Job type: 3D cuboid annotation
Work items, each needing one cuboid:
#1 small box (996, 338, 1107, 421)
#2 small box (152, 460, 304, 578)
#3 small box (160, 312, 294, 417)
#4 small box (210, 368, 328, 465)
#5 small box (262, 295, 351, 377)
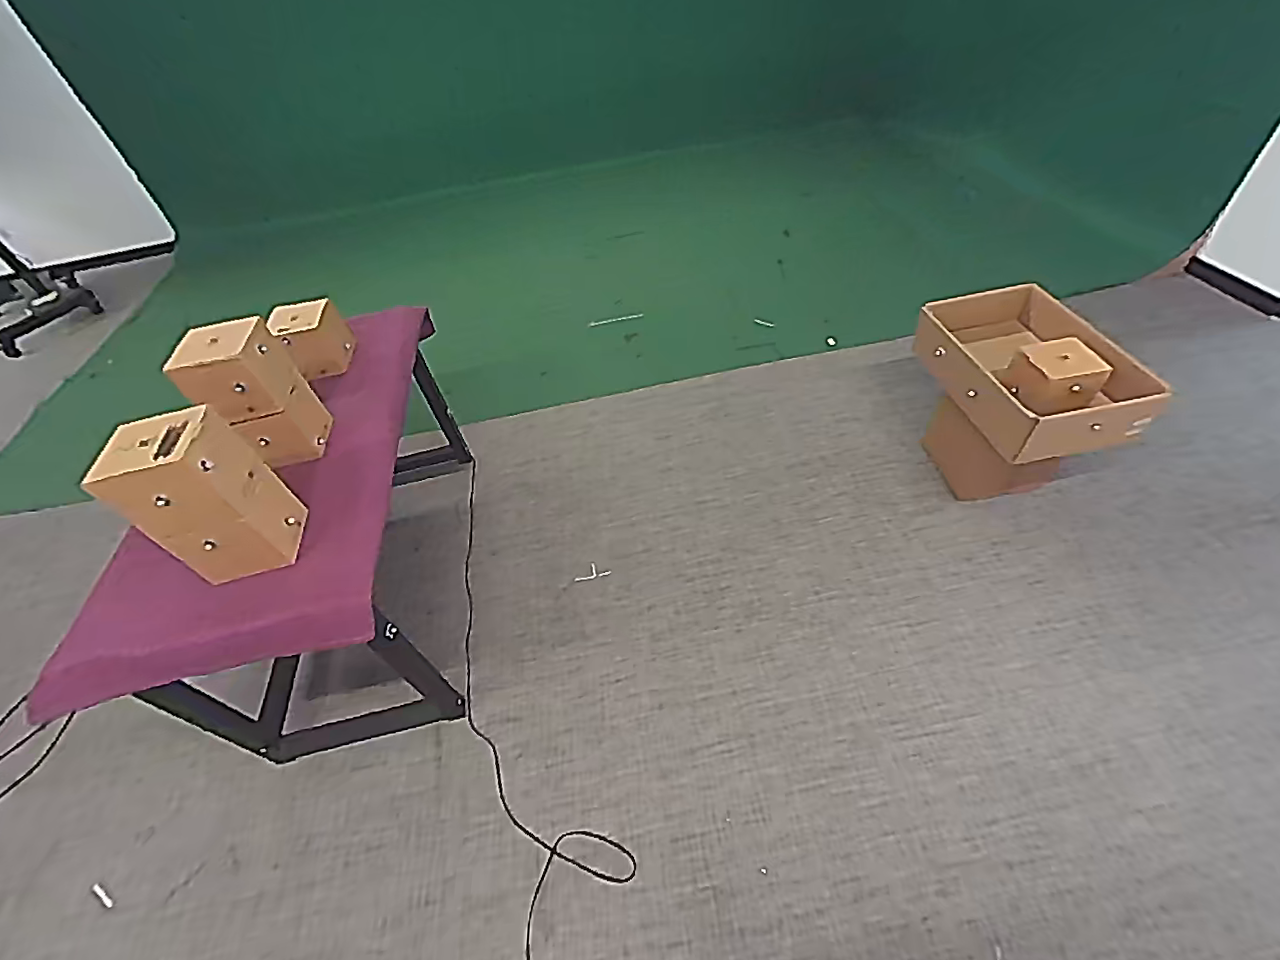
[{"bbox_3d":[1.222,-0.299,1.622,0.179,0.176,0.168,-10,49,0],"label":"small box"},{"bbox_3d":[-0.869,0.087,1.162,0.179,0.176,0.168,-14,48,-4],"label":"small box"},{"bbox_3d":[-0.958,-0.266,1.276,0.168,0.176,0.179,-12,47,-4],"label":"small box"},{"bbox_3d":[-0.943,-0.158,1.396,0.179,0.176,0.168,-14,48,-3],"label":"small box"},{"bbox_3d":[-1.017,-0.438,1.658,0.168,0.176,0.179,-12,48,-2],"label":"small box"}]
